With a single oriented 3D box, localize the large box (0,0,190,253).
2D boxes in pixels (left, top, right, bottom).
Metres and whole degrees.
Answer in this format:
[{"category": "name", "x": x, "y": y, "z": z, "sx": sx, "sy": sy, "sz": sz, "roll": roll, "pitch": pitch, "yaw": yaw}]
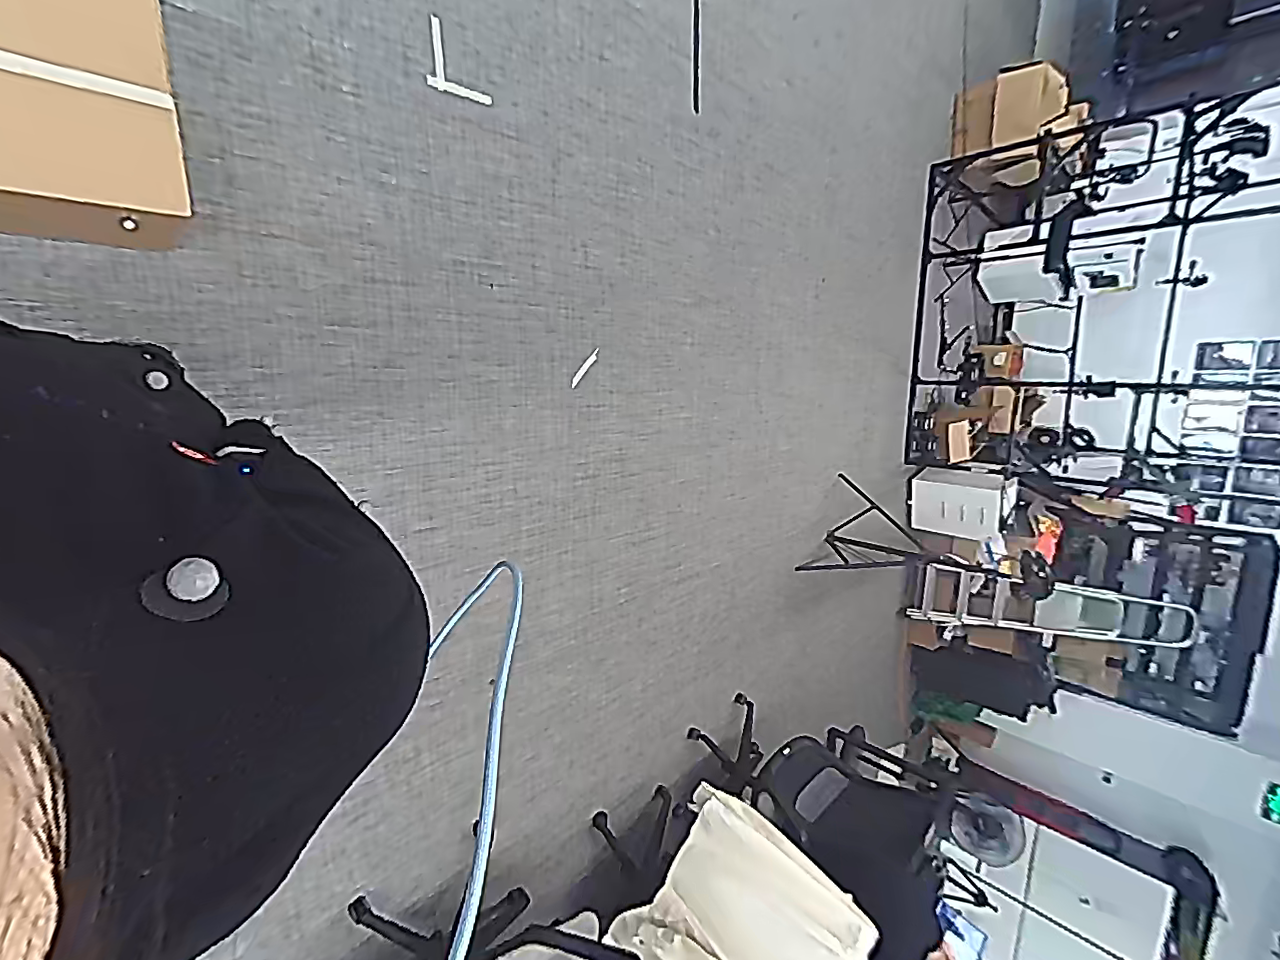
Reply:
[{"category": "large box", "x": -0.936, "y": -0.526, "z": 0.764, "sx": 0.408, "sy": 0.320, "sz": 0.320, "roll": -12, "pitch": 105, "yaw": -44}]
